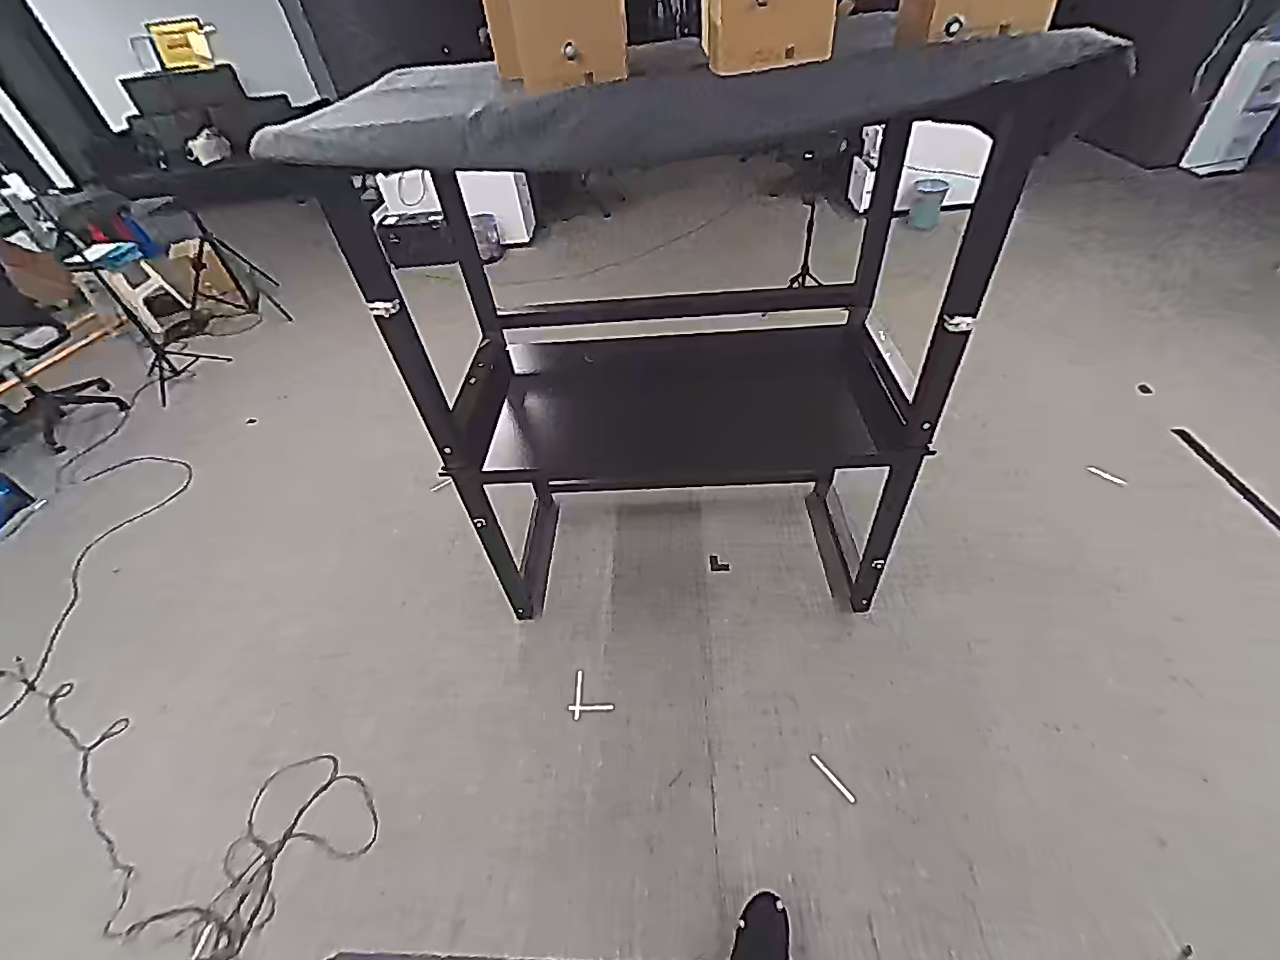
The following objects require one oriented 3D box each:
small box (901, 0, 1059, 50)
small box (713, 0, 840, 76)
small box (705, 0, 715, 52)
[{"bbox_3d":[0.500,-0.738,0.783,0.168,0.176,0.179,-1,41,7],"label":"small box"},{"bbox_3d":[0.200,-0.723,0.812,0.168,0.176,0.179,-4,42,4],"label":"small box"},{"bbox_3d":[0.208,-0.917,1.010,0.168,0.176,0.179,-3,44,4],"label":"small box"}]
